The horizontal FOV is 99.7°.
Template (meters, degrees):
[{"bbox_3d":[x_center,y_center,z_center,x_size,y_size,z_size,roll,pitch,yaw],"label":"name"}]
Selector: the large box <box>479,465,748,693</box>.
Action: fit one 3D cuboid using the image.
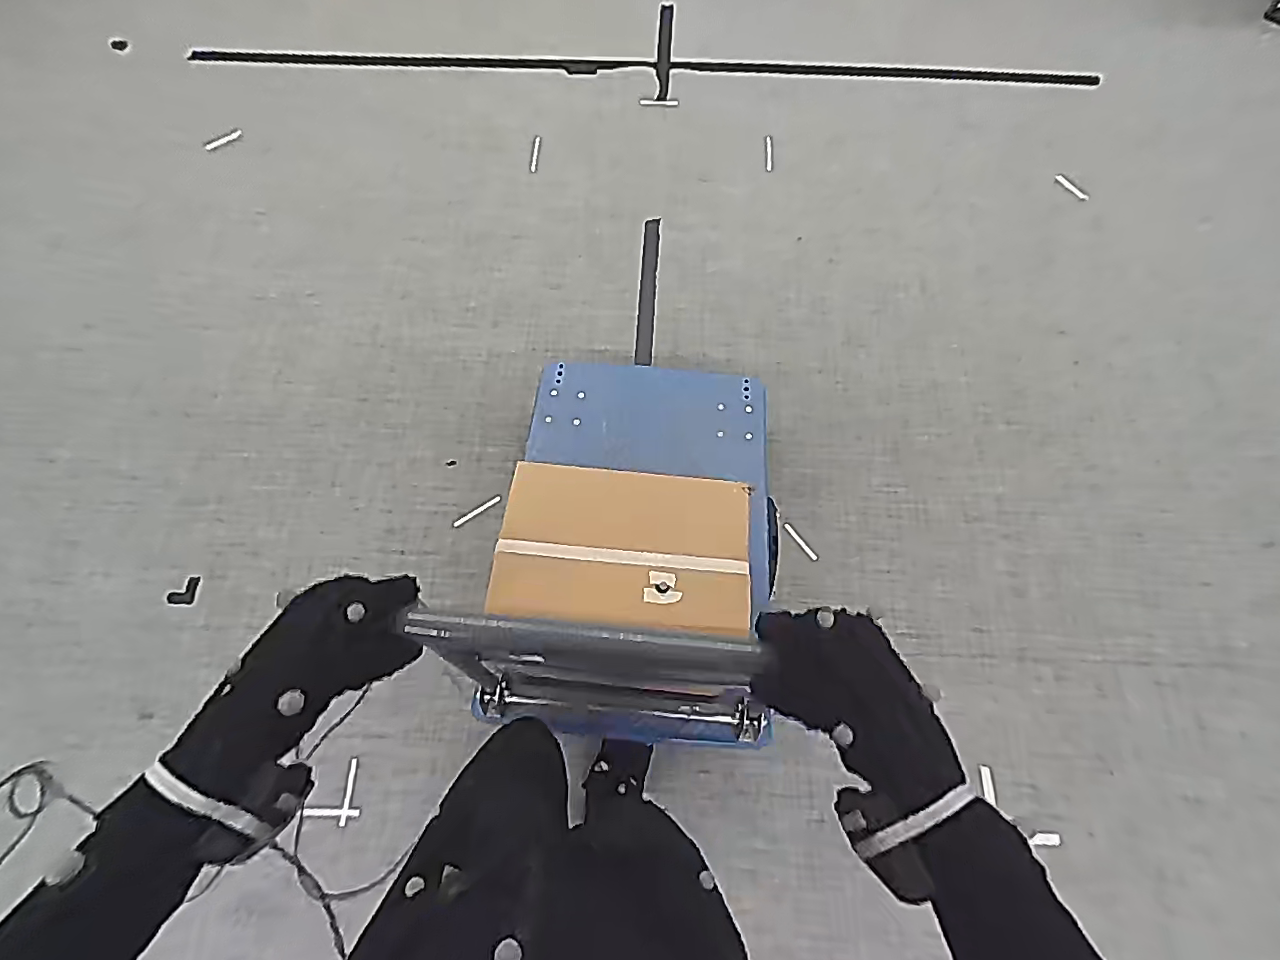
[{"bbox_3d":[-0.035,0.194,0.988,0.408,0.320,0.320,6,63,1],"label":"large box"}]
